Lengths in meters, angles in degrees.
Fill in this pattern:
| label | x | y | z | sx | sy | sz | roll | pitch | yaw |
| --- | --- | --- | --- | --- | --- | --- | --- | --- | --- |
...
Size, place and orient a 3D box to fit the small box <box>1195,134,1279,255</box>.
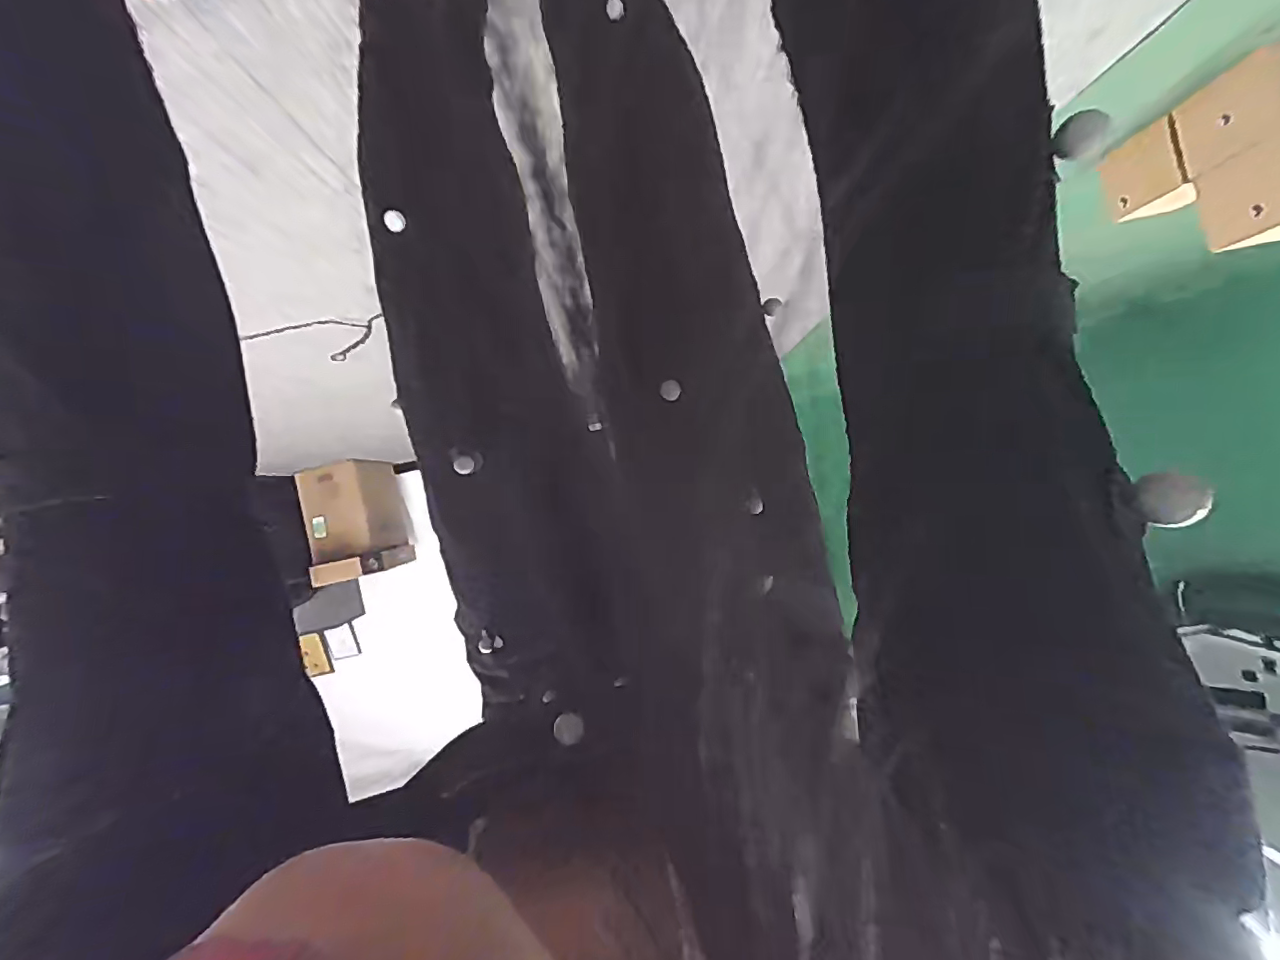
| label | x | y | z | sx | sy | sz | roll | pitch | yaw |
| --- | --- | --- | --- | --- | --- | --- | --- | --- | --- |
| small box | 1.289 | -0.586 | 1.088 | 0.168 | 0.176 | 0.179 | -12 | 179 | -3 |
